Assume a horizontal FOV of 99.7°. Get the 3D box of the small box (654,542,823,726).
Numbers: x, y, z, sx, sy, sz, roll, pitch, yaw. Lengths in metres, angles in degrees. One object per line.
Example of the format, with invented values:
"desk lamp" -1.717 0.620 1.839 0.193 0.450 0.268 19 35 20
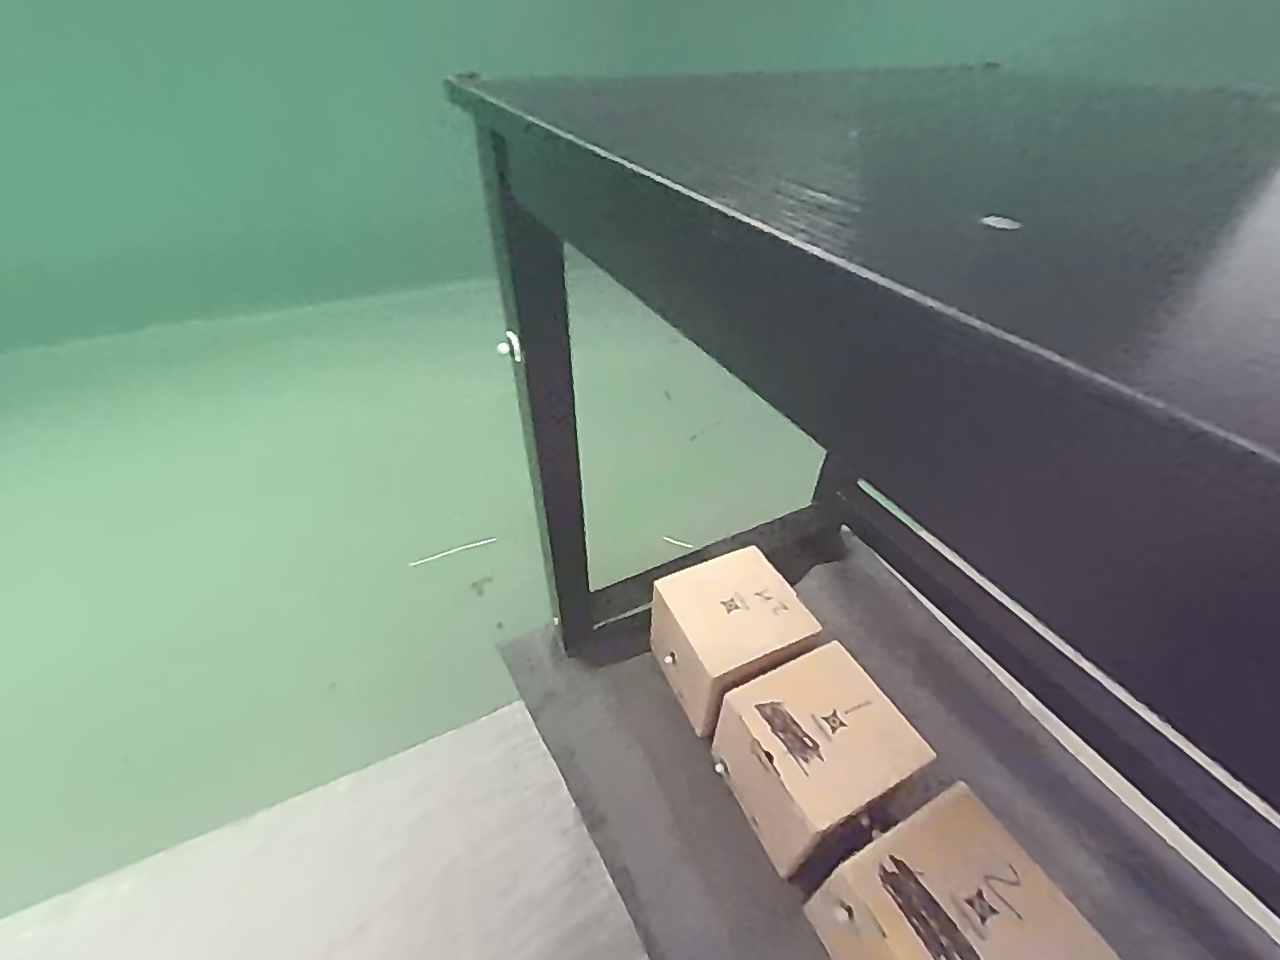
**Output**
"small box" 0.130 0.224 0.786 0.179 0.176 0.168 -16 45 -19
